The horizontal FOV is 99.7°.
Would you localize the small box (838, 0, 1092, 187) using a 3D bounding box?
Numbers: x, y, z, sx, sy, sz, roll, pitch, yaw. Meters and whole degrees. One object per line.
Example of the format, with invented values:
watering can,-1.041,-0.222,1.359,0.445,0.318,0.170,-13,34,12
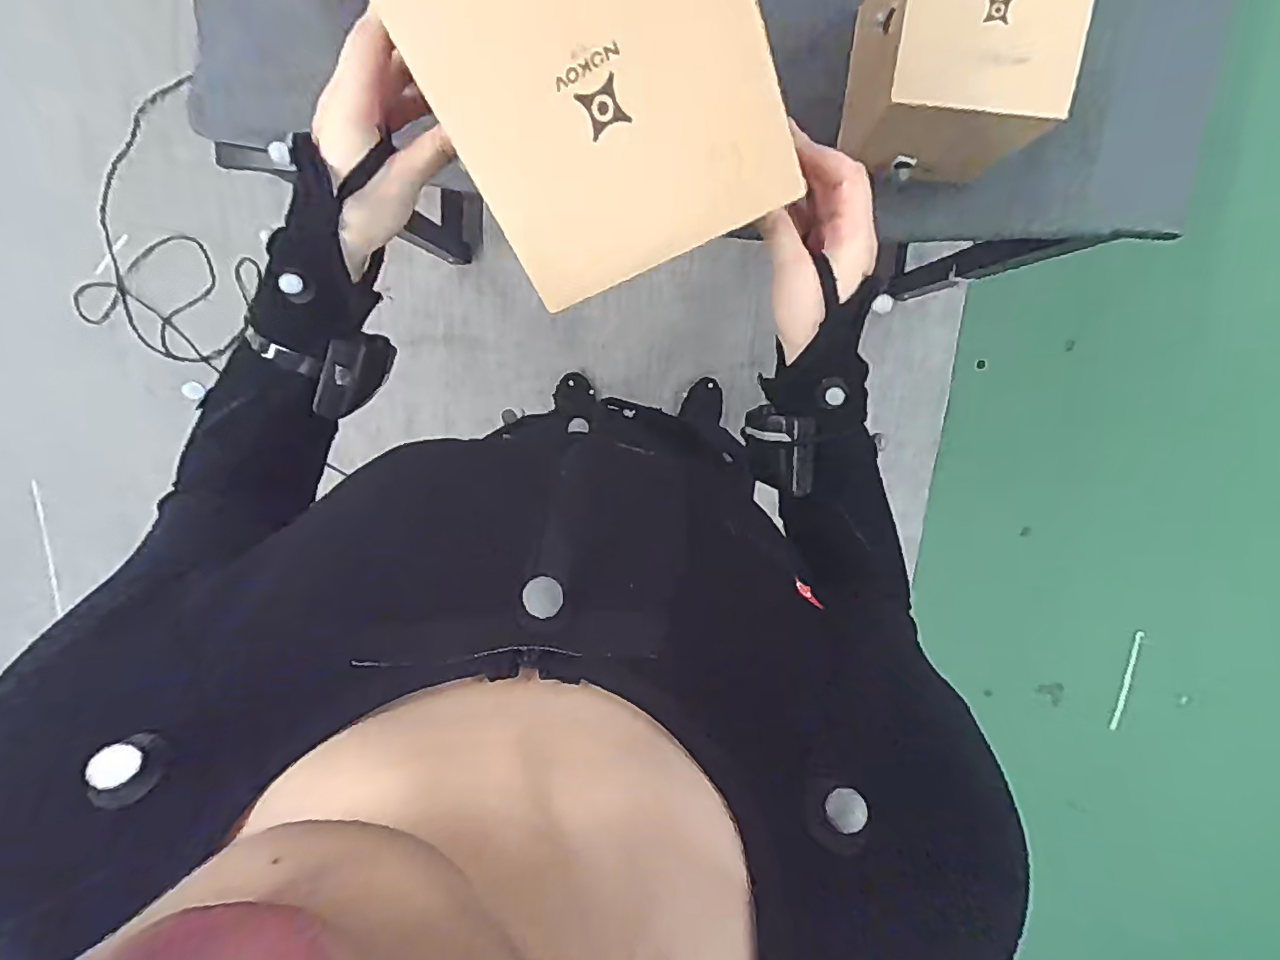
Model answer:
small box,0.323,-0.436,0.564,0.168,0.176,0.179,6,101,2
